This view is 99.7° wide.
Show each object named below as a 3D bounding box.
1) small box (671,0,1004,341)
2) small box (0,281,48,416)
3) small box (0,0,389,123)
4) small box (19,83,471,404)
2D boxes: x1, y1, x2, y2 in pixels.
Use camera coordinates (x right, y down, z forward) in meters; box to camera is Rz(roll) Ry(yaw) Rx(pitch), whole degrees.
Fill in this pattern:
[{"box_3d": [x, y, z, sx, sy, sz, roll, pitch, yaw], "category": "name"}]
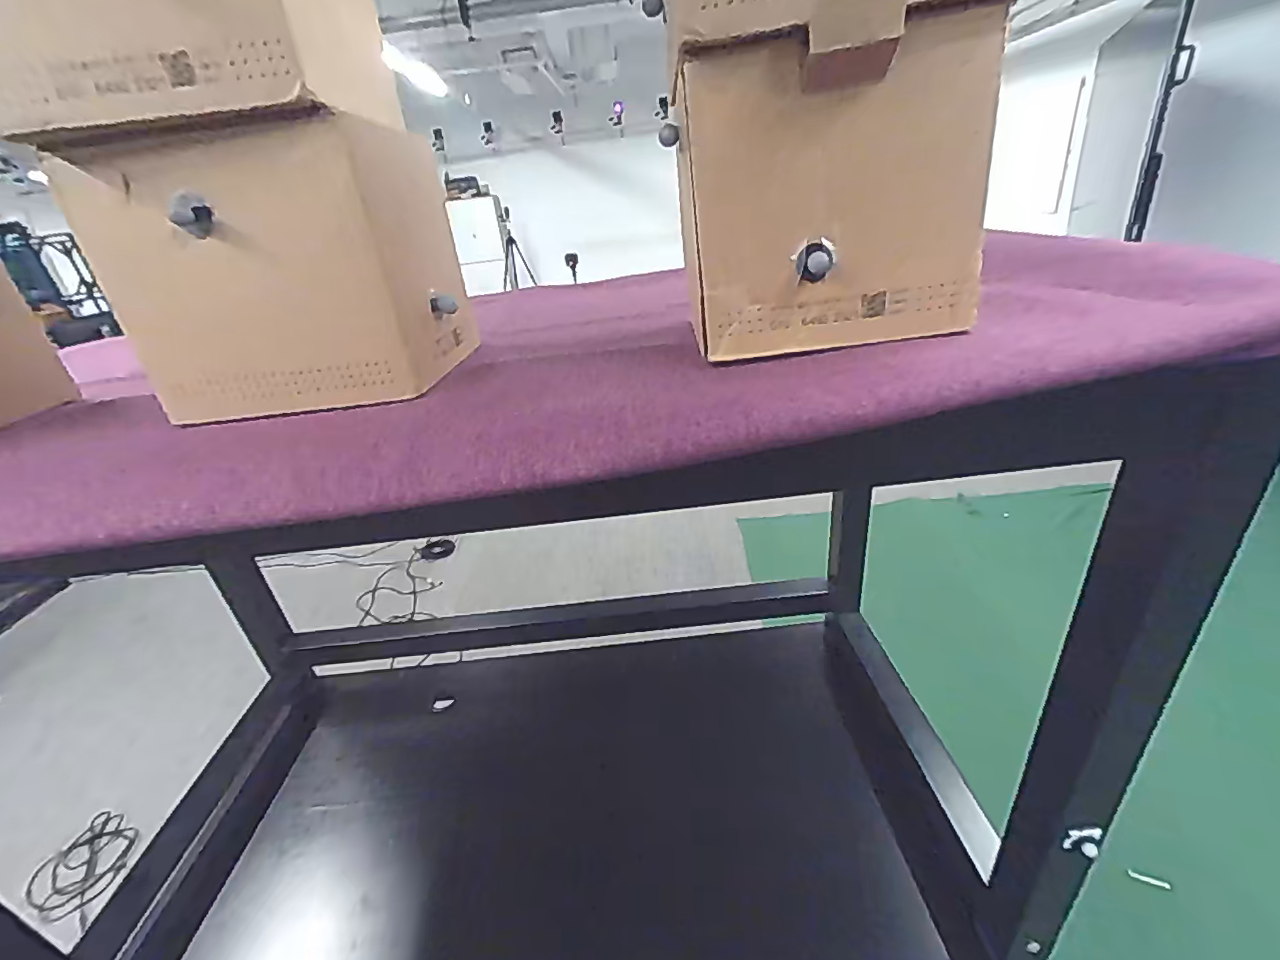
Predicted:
[{"box_3d": [0.111, -0.201, 0.378, 0.168, 0.176, 0.179, -7, 26, 5], "category": "small box"}, {"box_3d": [-0.592, -0.102, 0.375, 0.168, 0.176, 0.179, -9, 29, -1], "category": "small box"}, {"box_3d": [-0.272, -0.301, 0.314, 0.168, 0.176, 0.179, -8, 27, -2], "category": "small box"}, {"box_3d": [-0.247, -0.161, 0.396, 0.179, 0.176, 0.168, -6, 26, 2], "category": "small box"}]
